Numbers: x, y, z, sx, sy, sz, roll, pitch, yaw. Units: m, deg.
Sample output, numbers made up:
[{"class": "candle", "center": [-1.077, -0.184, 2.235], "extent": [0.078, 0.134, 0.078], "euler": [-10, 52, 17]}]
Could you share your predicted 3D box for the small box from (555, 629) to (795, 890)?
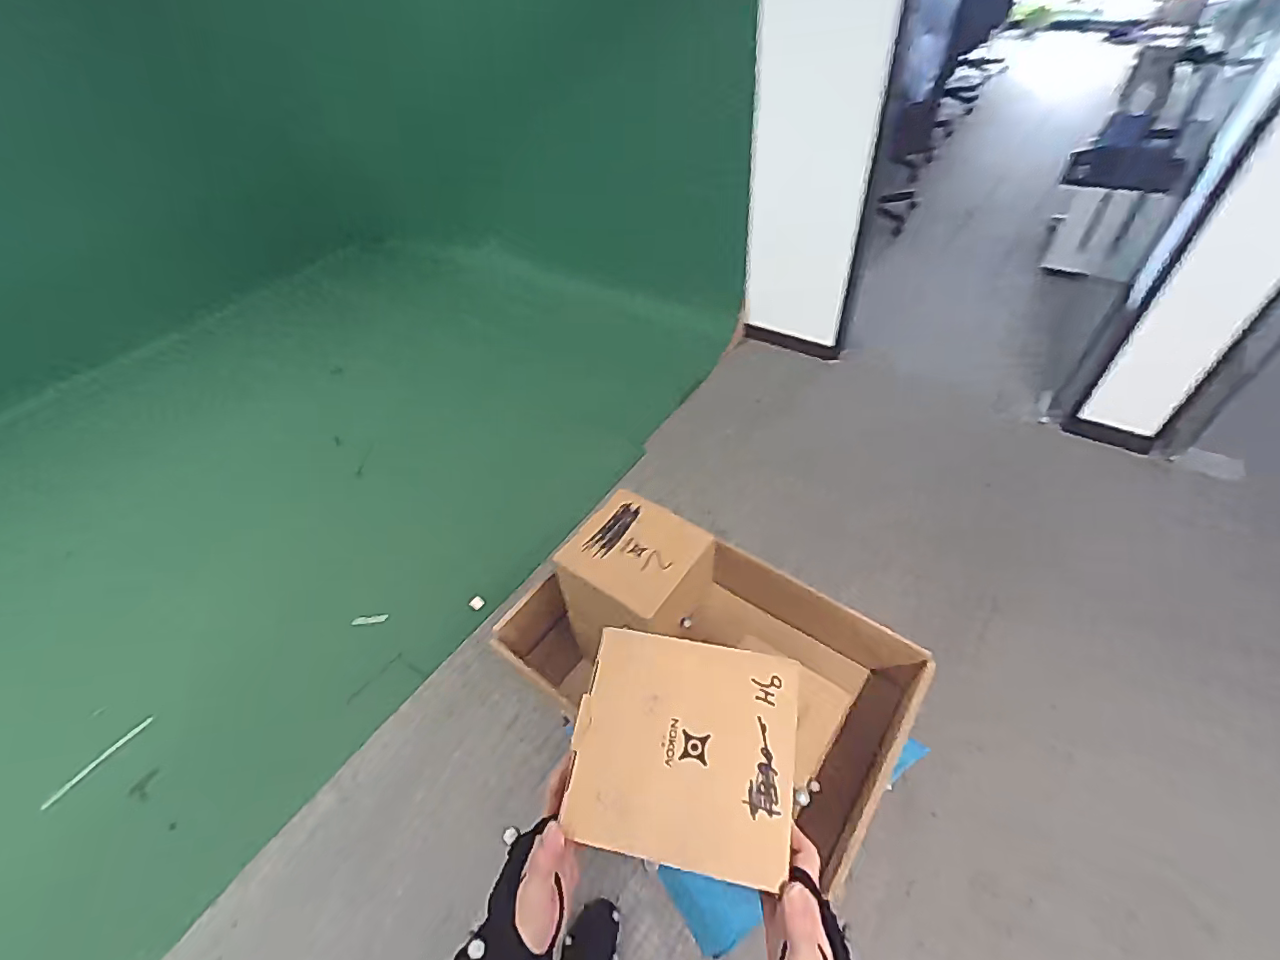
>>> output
[{"class": "small box", "center": [0.044, 0.255, 0.506], "extent": [0.179, 0.176, 0.168], "euler": [6, 60, 12]}]
